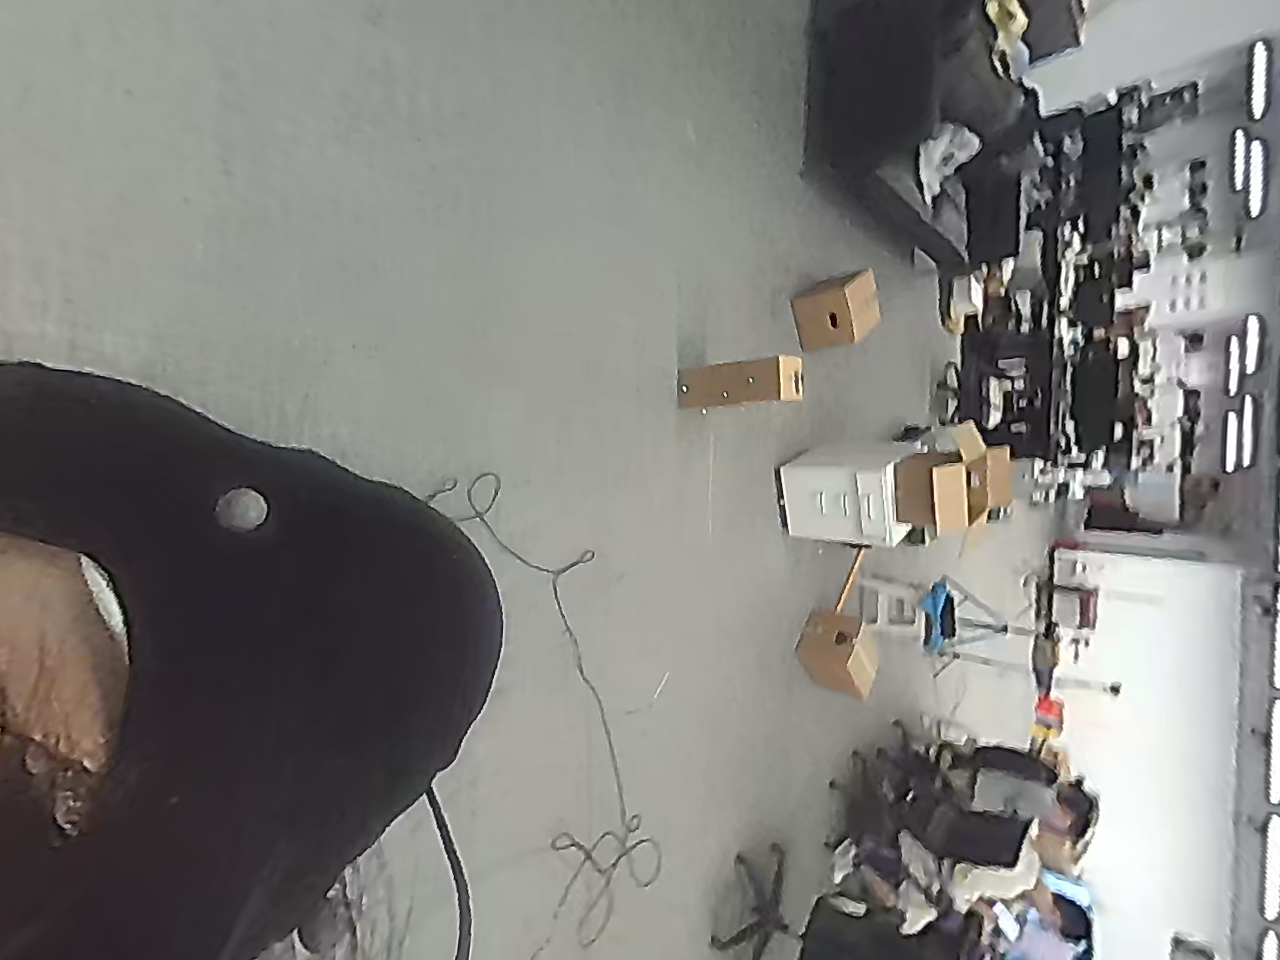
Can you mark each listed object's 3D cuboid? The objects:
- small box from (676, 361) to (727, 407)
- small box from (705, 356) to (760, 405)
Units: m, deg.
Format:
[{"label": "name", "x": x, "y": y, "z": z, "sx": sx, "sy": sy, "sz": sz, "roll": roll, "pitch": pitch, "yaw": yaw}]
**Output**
[{"label": "small box", "x": 0.271, "y": -0.411, "z": 2.356, "sx": 0.168, "sy": 0.176, "sz": 0.179, "roll": -2, "pitch": 93, "yaw": -47}, {"label": "small box", "x": 0.381, "y": -0.407, "z": 2.236, "sx": 0.168, "sy": 0.176, "sz": 0.179, "roll": -6, "pitch": 94, "yaw": -47}]
